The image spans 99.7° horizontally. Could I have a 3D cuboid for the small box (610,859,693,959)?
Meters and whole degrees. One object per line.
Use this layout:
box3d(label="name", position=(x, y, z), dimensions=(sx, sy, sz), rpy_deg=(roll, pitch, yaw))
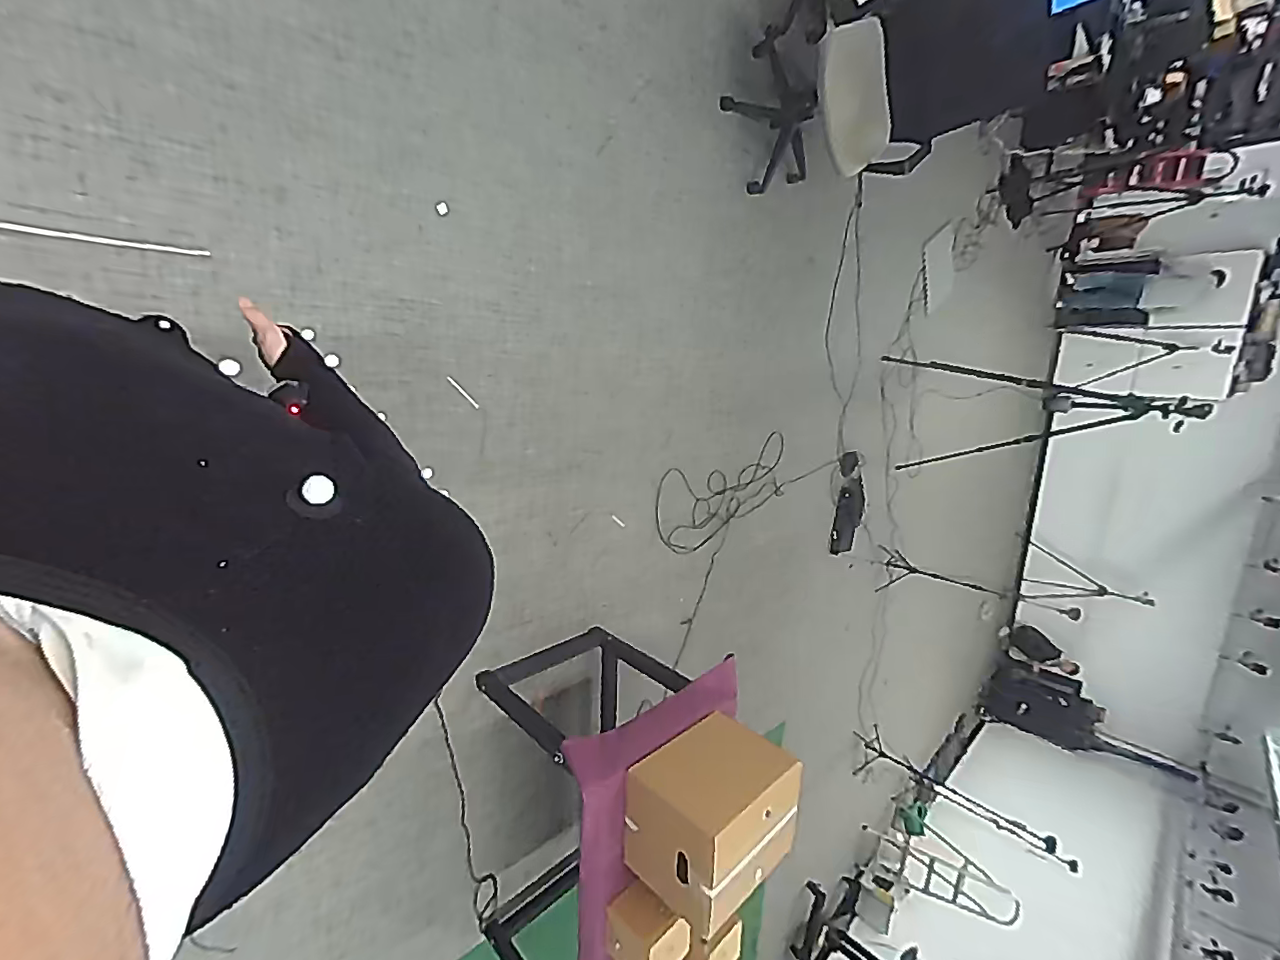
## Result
box3d(label="small box", position=(0.033, 1.272, 1.584), dimensions=(0.179, 0.176, 0.168), rpy_deg=(-12, 108, -44))
